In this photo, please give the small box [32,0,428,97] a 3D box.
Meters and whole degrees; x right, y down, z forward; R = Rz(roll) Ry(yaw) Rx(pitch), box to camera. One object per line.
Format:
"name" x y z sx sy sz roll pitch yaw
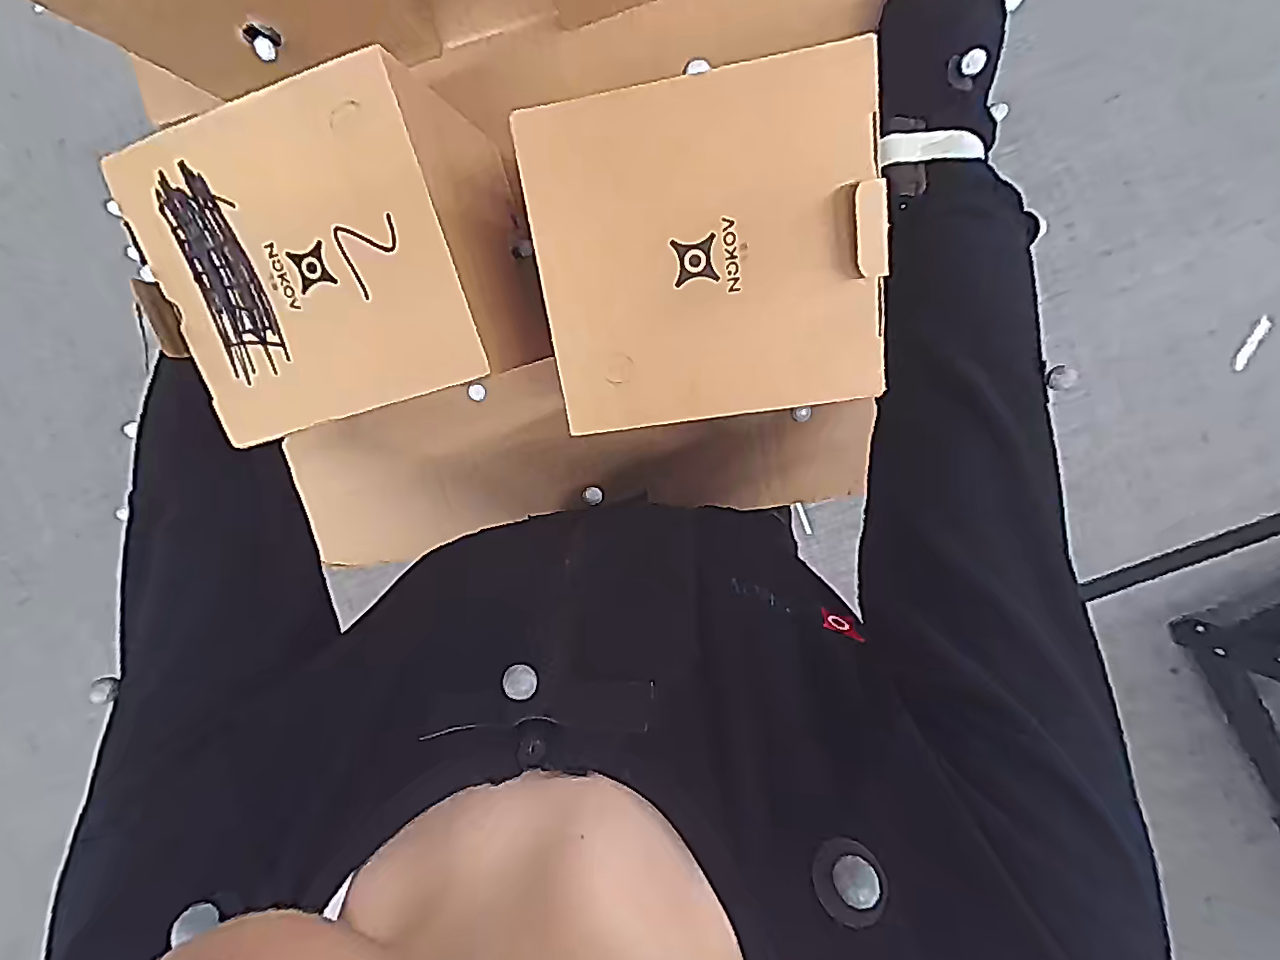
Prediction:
"small box" -0.257 -0.369 0.326 0.168 0.176 0.179 -10 102 9
